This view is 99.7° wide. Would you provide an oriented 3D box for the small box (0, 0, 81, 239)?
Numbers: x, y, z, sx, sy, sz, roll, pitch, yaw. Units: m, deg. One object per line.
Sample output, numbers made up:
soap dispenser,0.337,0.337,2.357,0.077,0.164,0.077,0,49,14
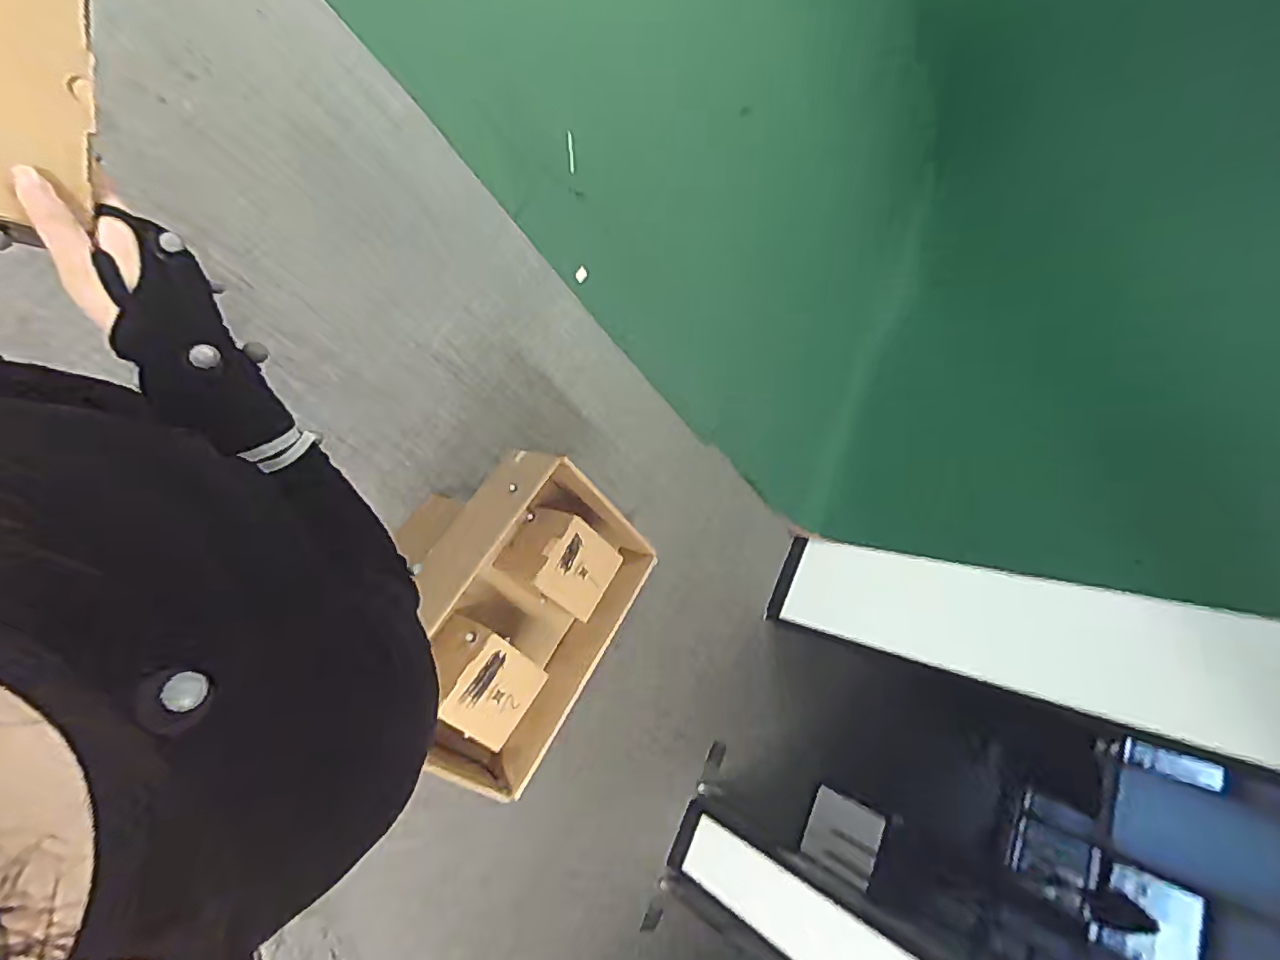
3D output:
small box,-0.448,-0.244,0.301,0.179,0.176,0.168,-5,106,-51
